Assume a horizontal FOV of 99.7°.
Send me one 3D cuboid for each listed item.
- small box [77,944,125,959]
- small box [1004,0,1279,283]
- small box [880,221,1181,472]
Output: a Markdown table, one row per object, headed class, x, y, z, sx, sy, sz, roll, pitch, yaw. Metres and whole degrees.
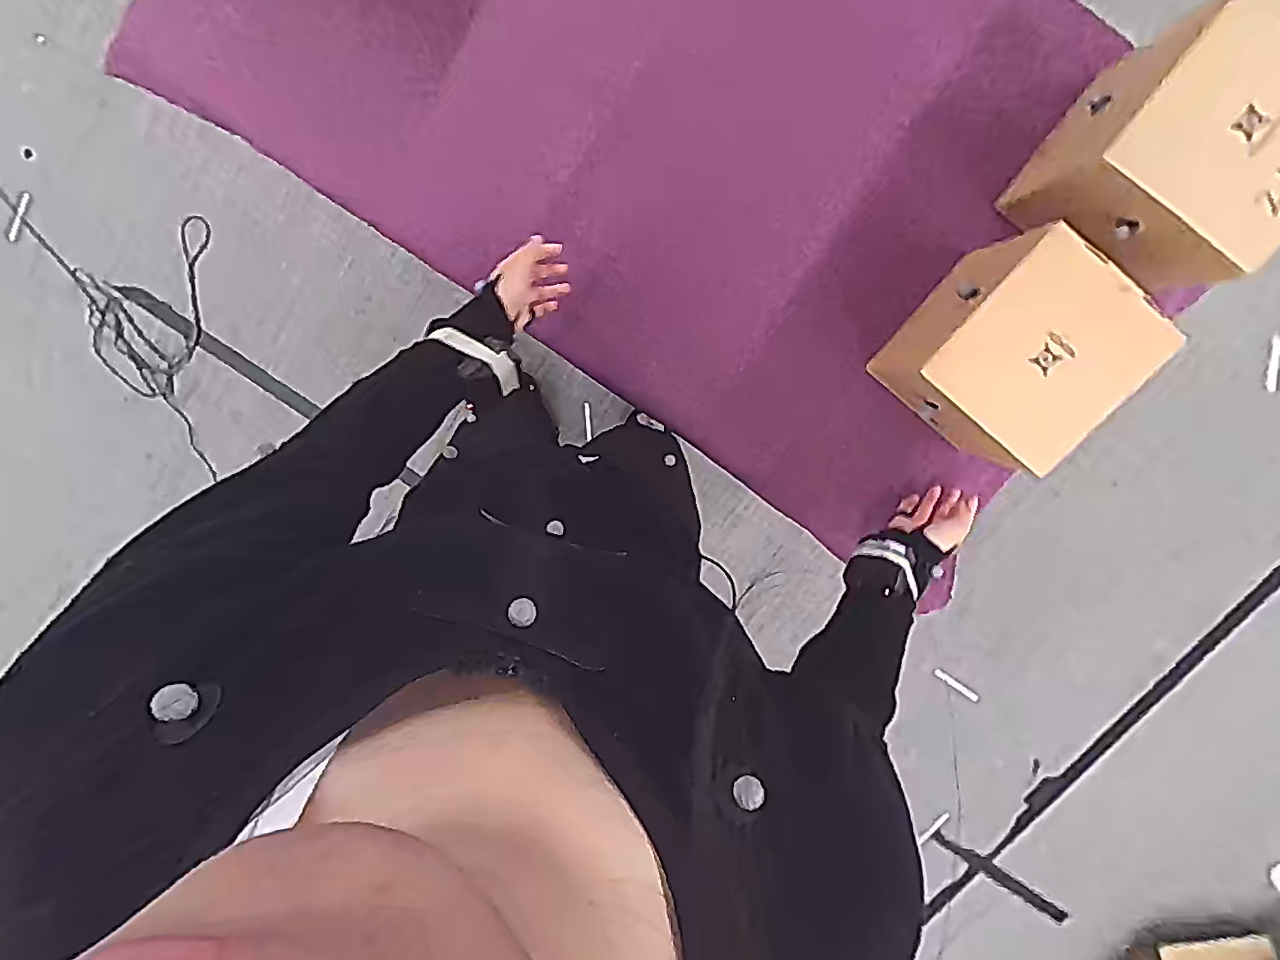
| class | x | y | z | sx | sy | sz | roll | pitch | yaw |
| --- | --- | --- | --- | --- | --- | --- | --- | --- | --- |
| small box | -1.373 | 1.296 | 1.316 | 0.168 | 0.176 | 0.179 | 39 | 102 | -5 |
| small box | 0.518 | -0.312 | 0.534 | 0.179 | 0.176 | 0.168 | 35 | 104 | -5 |
| small box | 0.392 | -0.136 | 0.590 | 0.168 | 0.176 | 0.179 | 39 | 102 | -4 |
